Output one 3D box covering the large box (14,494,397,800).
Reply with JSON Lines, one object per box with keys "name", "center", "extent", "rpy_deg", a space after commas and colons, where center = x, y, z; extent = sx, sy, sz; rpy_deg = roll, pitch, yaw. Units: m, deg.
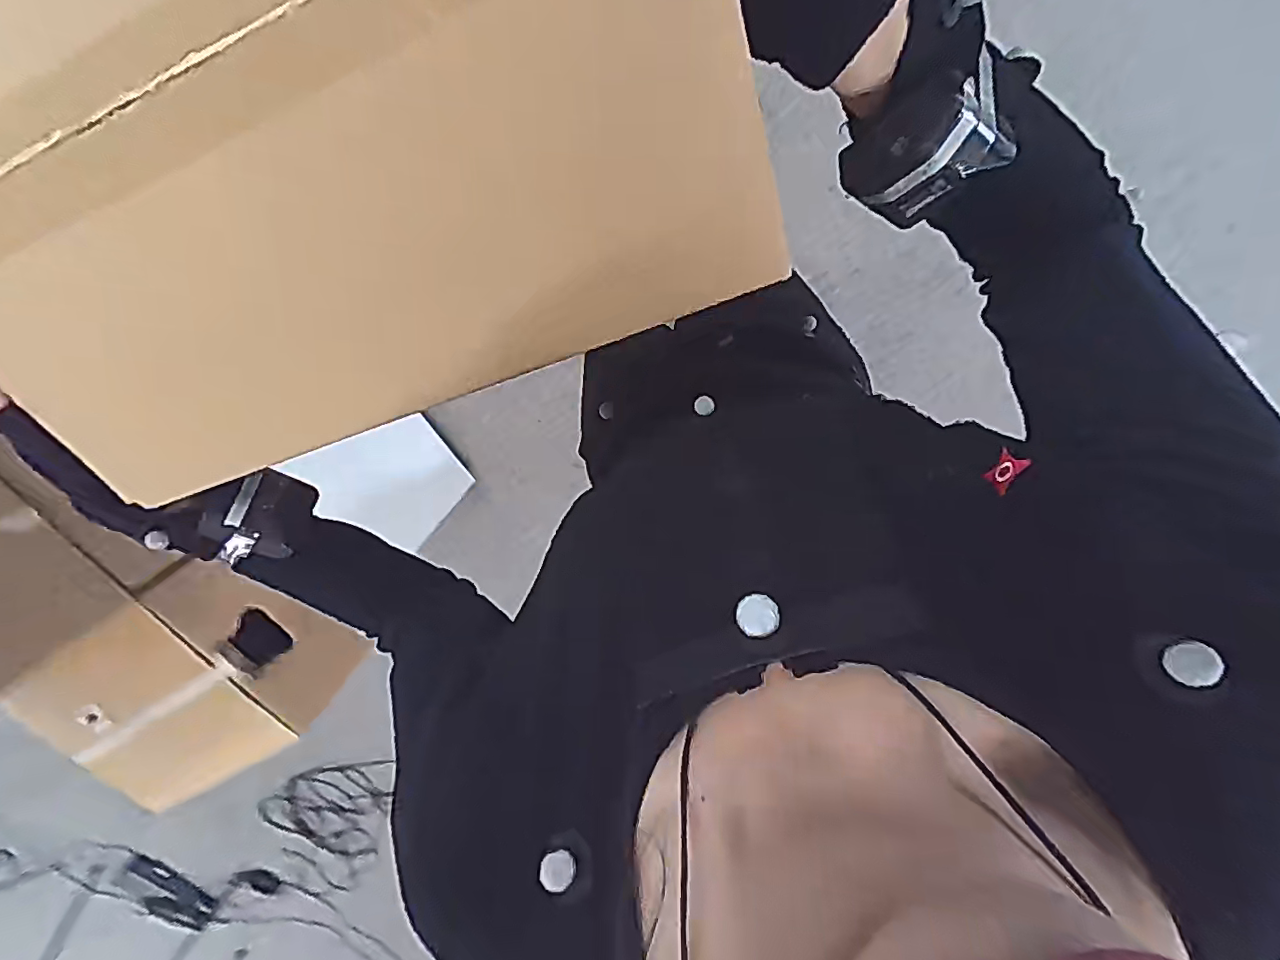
{"name": "large box", "center": [-0.744, 0.293, 0.983], "extent": [0.408, 0.320, 0.320], "rpy_deg": [-30, 108, 18]}
